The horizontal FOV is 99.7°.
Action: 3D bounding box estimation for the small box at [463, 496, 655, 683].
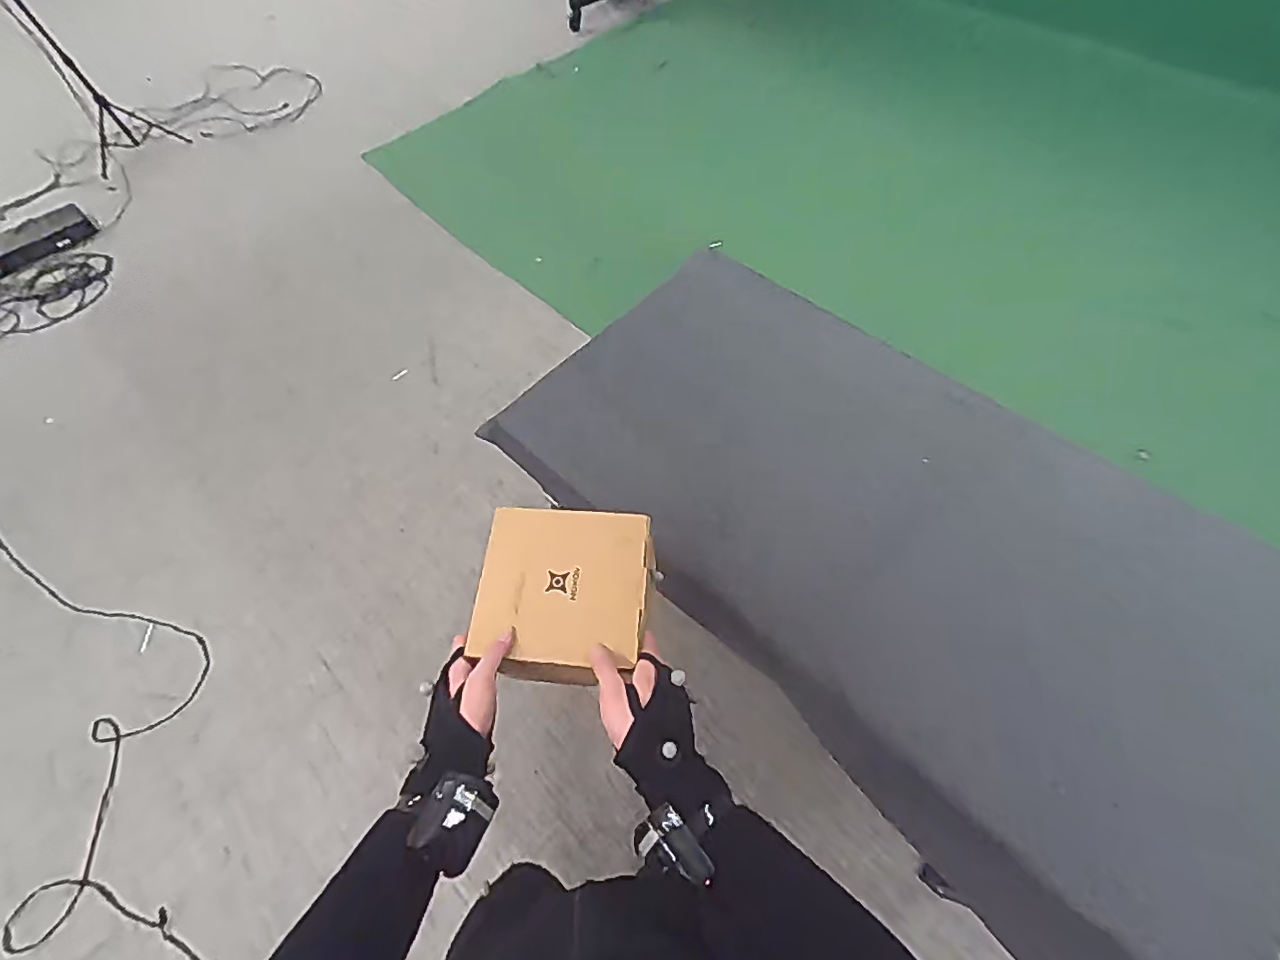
[{"bbox_3d":[-0.075,0.133,0.622,0.179,0.176,0.168,3,61,5],"label":"small box"}]
